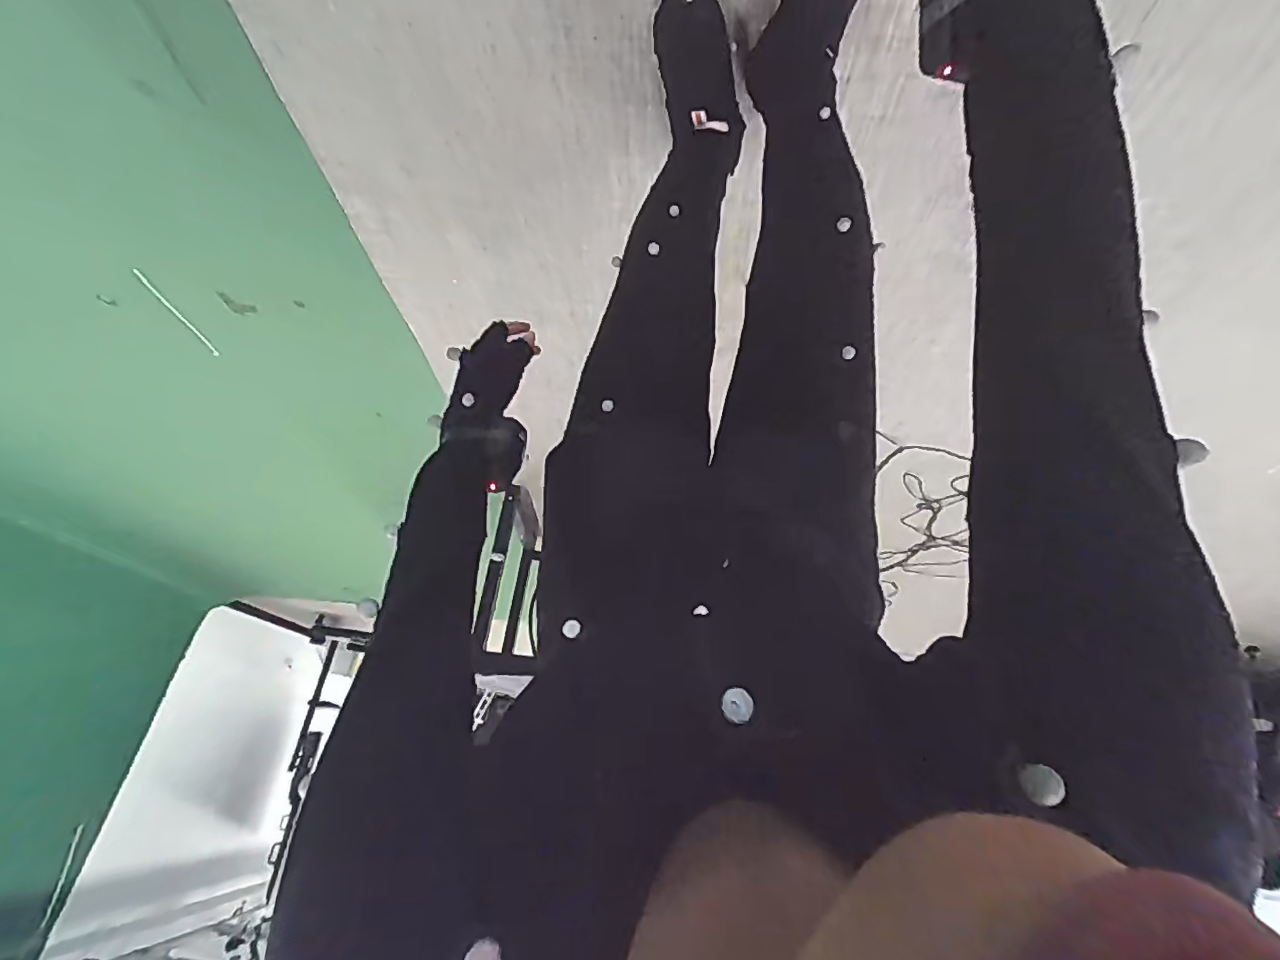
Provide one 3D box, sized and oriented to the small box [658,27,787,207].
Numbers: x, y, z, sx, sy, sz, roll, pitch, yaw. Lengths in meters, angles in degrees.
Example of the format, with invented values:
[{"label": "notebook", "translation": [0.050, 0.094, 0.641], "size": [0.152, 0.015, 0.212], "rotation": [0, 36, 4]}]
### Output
[{"label": "small box", "translation": [0.123, -0.579, 0.869], "size": [0.168, 0.176, 0.179], "rotation": [-9, 148, 1]}]
